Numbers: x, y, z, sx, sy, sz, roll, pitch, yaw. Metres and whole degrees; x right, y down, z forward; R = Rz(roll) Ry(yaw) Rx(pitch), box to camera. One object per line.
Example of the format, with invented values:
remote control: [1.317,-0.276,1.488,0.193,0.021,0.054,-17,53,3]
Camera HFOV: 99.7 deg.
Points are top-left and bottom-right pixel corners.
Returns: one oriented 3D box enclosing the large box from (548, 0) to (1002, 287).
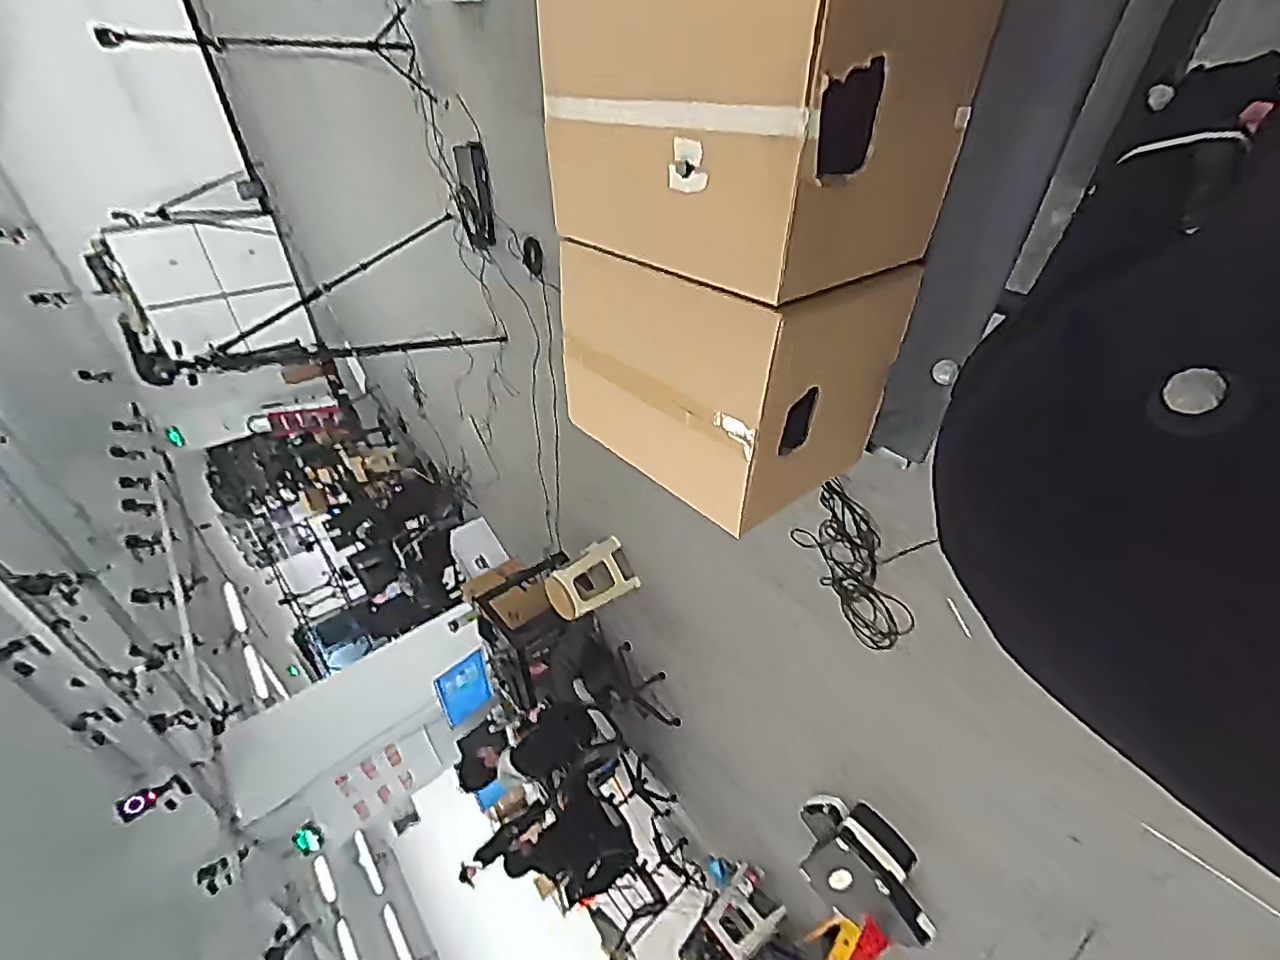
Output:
large box: [0.133,-0.457,0.653,0.408,0.320,0.320,34,138,37]
